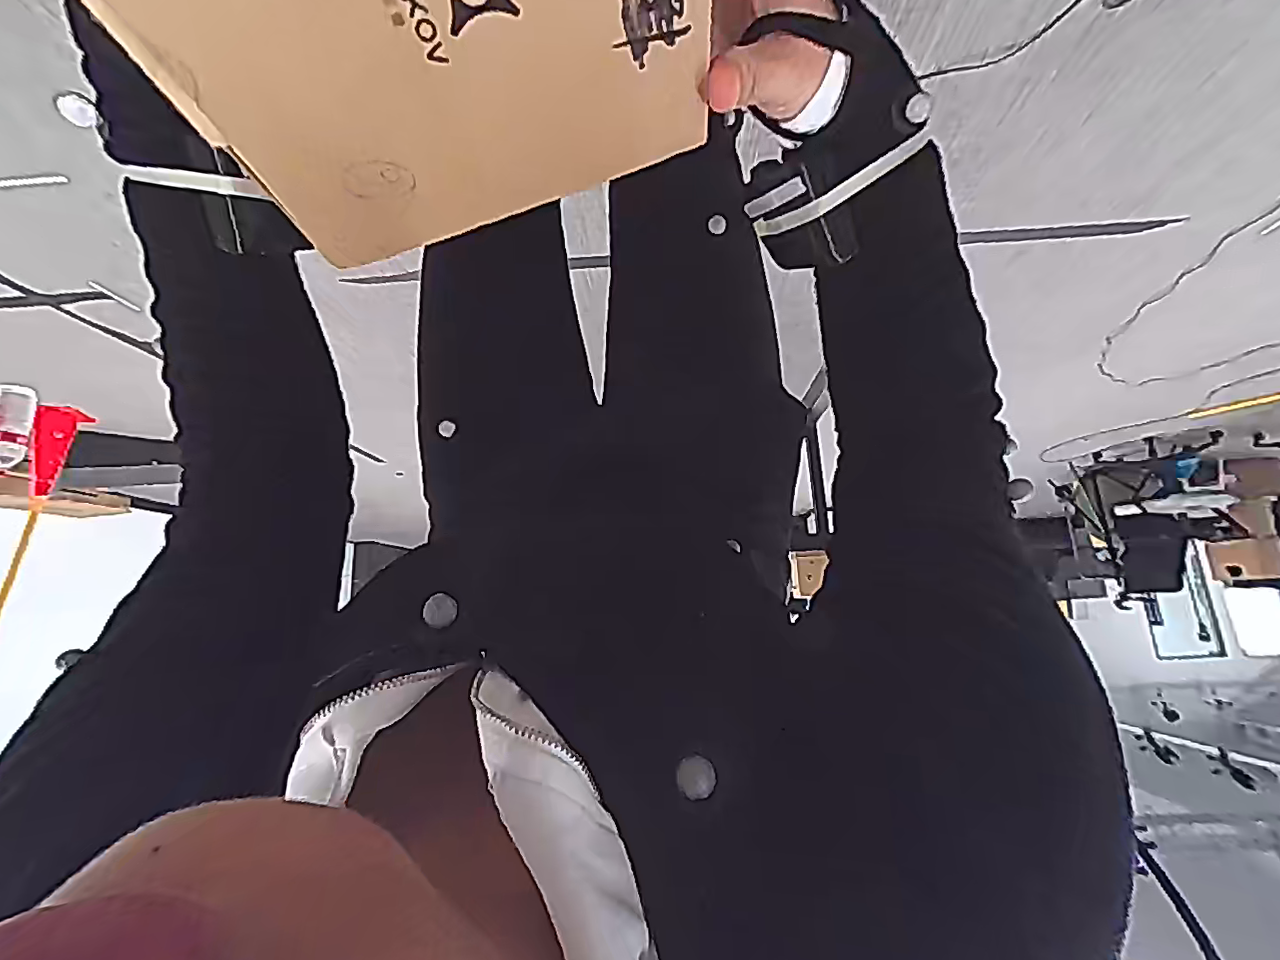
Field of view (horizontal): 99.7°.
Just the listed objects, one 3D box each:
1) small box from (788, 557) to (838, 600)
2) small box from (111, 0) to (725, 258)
[{"bbox_3d":[0.718,0.410,2.265,0.168,0.176,0.179,-3,168,7],"label":"small box"},{"bbox_3d":[-0.079,-0.217,0.182,0.179,0.176,0.168,-18,160,-3],"label":"small box"}]
